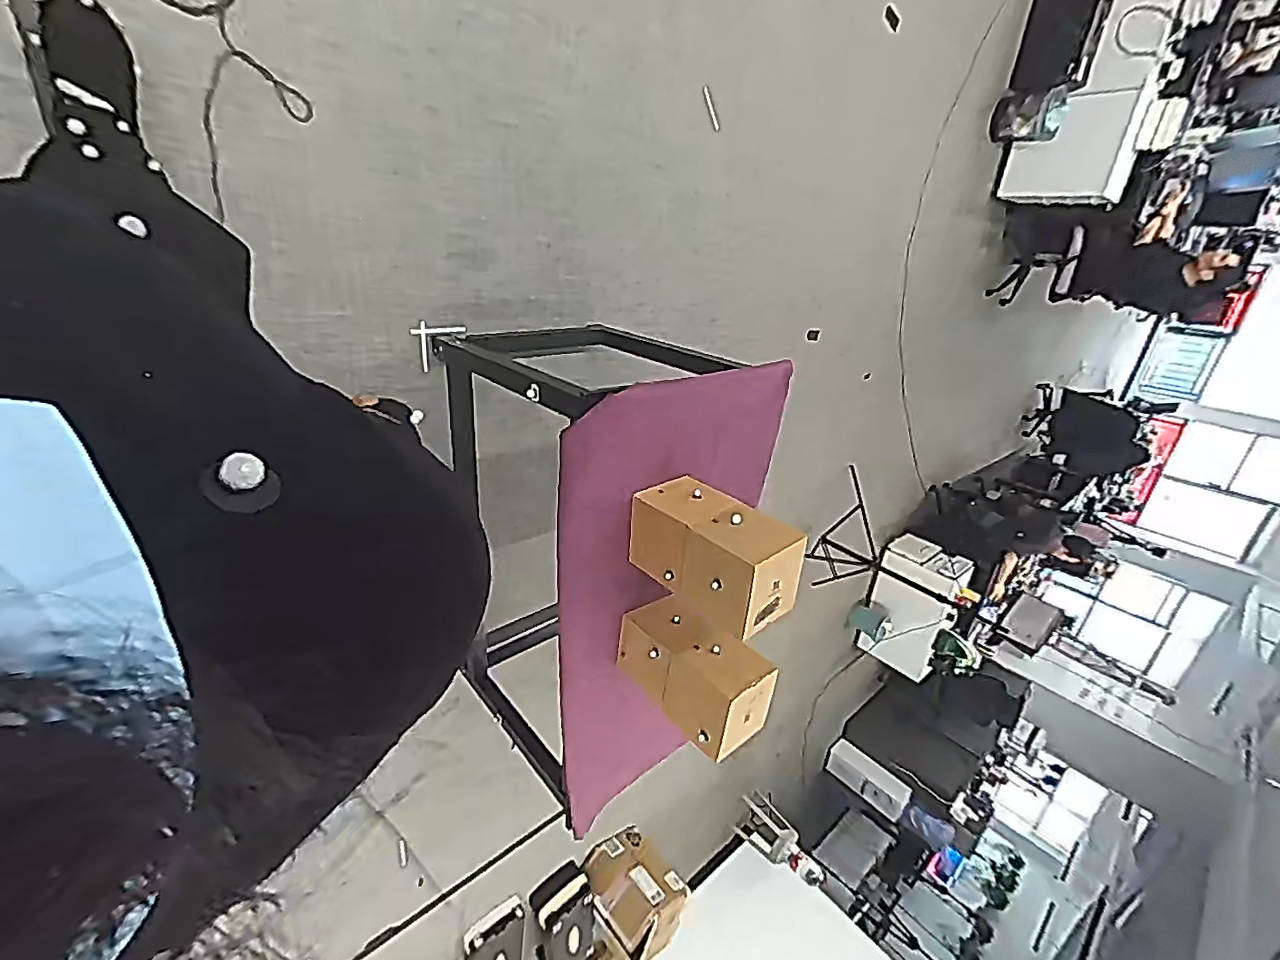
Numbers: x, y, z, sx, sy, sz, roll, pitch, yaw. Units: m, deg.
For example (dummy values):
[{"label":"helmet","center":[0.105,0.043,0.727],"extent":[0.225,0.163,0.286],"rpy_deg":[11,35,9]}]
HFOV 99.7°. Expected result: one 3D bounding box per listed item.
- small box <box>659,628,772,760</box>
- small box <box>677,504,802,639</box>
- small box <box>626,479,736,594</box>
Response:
[{"label":"small box","center":[0.161,0.463,1.194],"extent":[0.168,0.176,0.179],"rpy_deg":[-13,119,-42]},{"label":"small box","center":[0.190,0.172,1.071],"extent":[0.168,0.176,0.179],"rpy_deg":[-19,123,-38]},{"label":"small box","center":[0.085,0.110,1.181],"extent":[0.168,0.176,0.179],"rpy_deg":[-19,124,-38]}]
